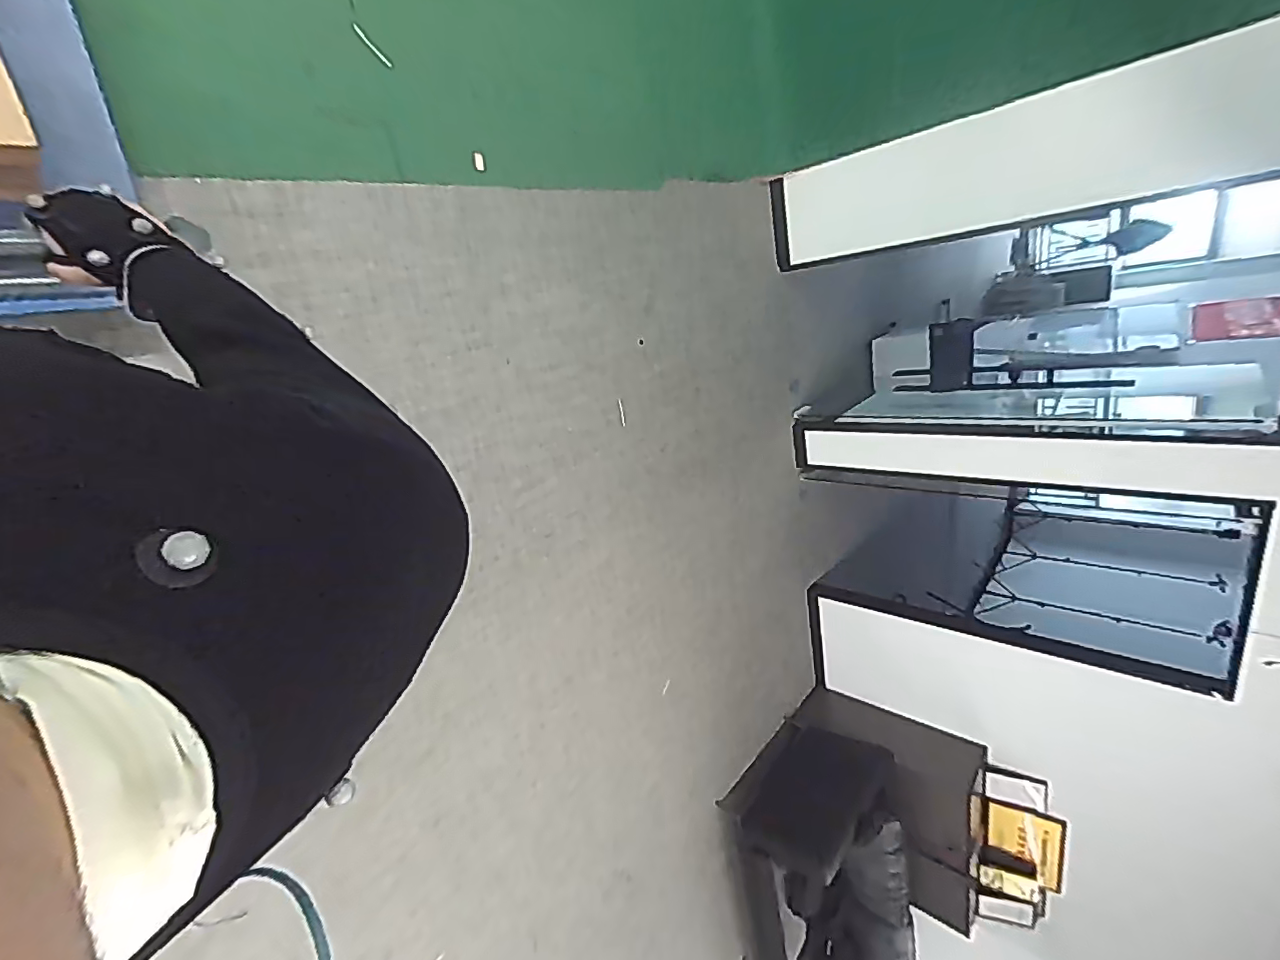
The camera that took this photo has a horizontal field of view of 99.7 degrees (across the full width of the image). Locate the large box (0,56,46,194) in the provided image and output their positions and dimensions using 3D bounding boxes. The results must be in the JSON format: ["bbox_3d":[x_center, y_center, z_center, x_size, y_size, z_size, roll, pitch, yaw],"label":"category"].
[{"bbox_3d":[-1.110,-0.635,0.721,0.320,0.320,0.408,-26,114,-41],"label":"large box"}]
